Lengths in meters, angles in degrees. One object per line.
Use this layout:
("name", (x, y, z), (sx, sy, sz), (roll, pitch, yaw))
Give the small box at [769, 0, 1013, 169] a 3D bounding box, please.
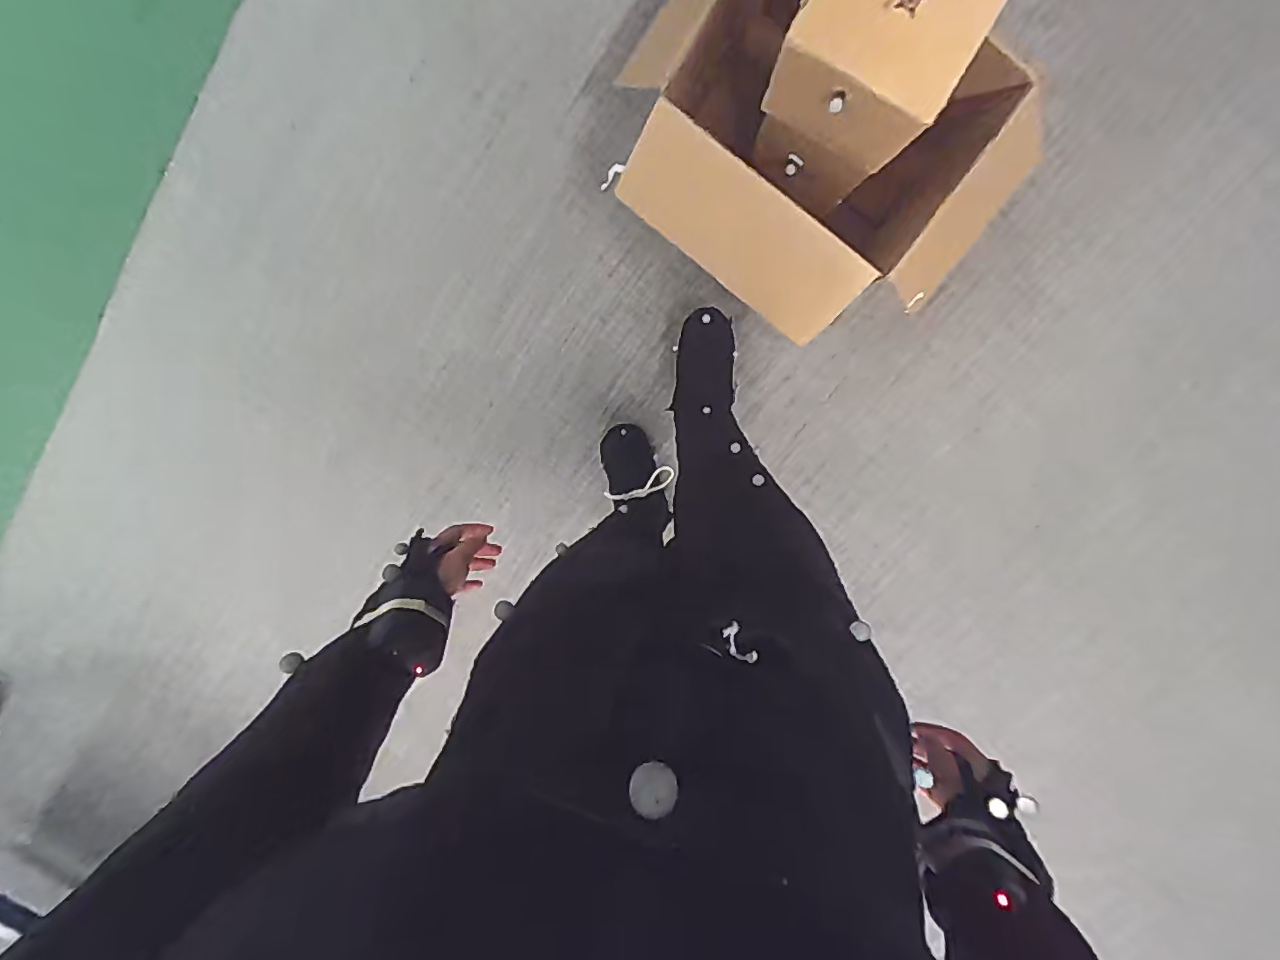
("small box", (0.272, -0.489, 0.617), (0.179, 0.176, 0.168), (29, 104, -2))
